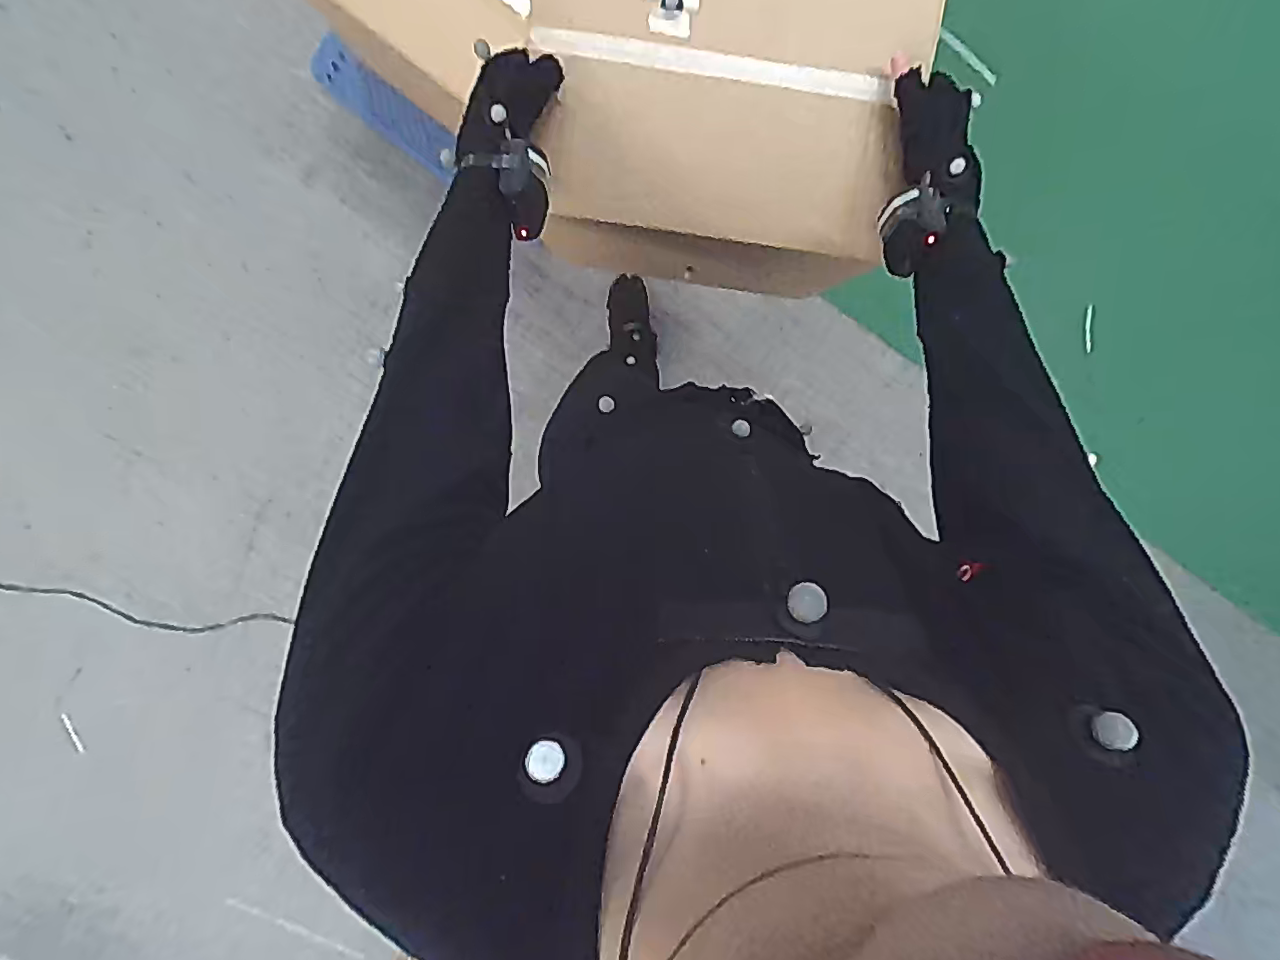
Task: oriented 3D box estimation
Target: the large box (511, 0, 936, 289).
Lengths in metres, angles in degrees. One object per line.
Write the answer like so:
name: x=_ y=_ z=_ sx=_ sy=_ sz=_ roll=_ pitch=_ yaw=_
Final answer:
large box: x=0.083 y=-0.439 z=0.681 sx=0.408 sy=0.320 sz=0.320 roll=8 pitch=101 yaw=-1
